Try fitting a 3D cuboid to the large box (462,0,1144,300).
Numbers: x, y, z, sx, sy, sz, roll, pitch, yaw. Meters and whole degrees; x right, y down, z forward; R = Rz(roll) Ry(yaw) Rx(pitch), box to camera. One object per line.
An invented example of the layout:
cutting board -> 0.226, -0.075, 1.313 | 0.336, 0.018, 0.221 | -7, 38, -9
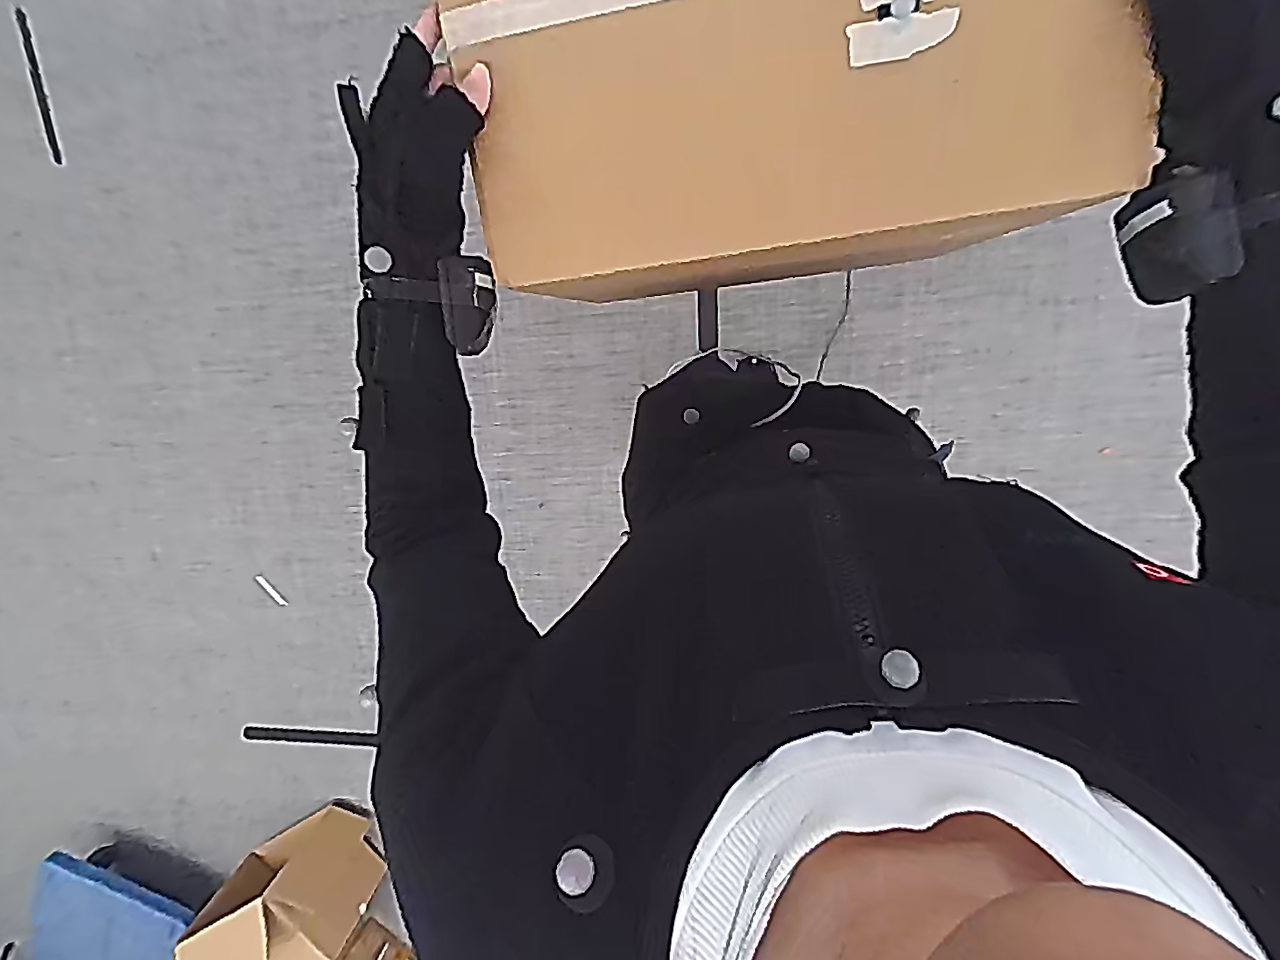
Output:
large box -> 0.099, -0.351, 0.463 | 0.408, 0.320, 0.320 | -5, 105, 9
